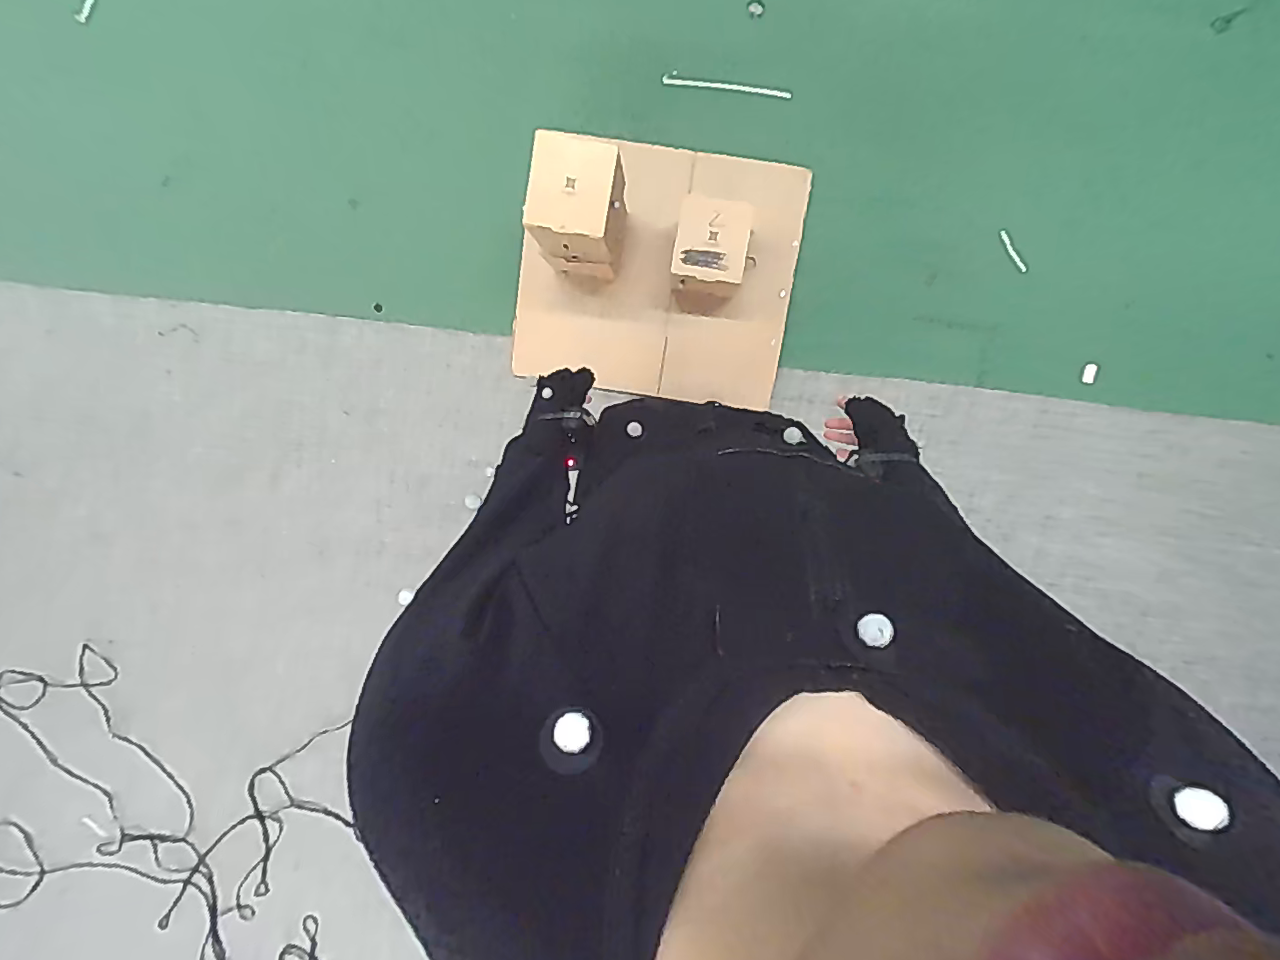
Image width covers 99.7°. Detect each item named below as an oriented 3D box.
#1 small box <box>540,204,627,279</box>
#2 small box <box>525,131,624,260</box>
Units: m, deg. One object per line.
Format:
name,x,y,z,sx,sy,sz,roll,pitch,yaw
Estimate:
small box,-0.129,-0.595,1.292,0.168,0.176,0.179,10,98,2
small box,-0.129,-0.583,1.130,0.168,0.176,0.179,11,99,1
